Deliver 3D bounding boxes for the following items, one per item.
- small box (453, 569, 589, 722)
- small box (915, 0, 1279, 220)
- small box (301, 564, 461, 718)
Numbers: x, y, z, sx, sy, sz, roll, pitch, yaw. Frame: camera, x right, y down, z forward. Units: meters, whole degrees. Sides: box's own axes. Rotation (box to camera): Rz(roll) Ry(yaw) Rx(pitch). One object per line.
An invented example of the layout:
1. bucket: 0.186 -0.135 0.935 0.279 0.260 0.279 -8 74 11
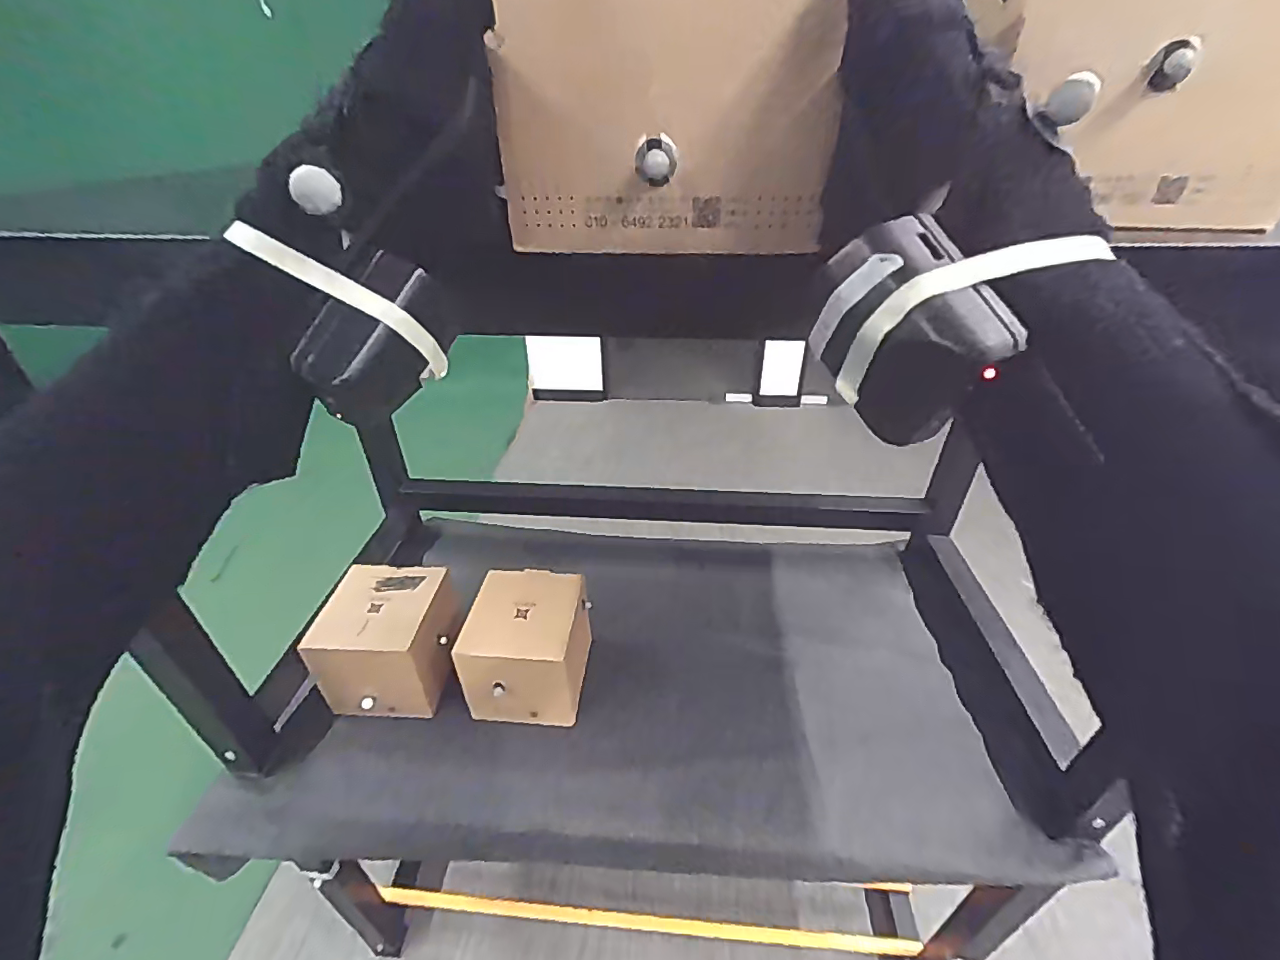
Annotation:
1. small box: -0.178 0.267 0.875 0.168 0.176 0.179 2 33 4
2. small box: 0.300 -0.274 0.355 0.168 0.176 0.179 7 34 12
3. small box: -0.405 0.259 0.886 0.168 0.176 0.179 1 34 2
